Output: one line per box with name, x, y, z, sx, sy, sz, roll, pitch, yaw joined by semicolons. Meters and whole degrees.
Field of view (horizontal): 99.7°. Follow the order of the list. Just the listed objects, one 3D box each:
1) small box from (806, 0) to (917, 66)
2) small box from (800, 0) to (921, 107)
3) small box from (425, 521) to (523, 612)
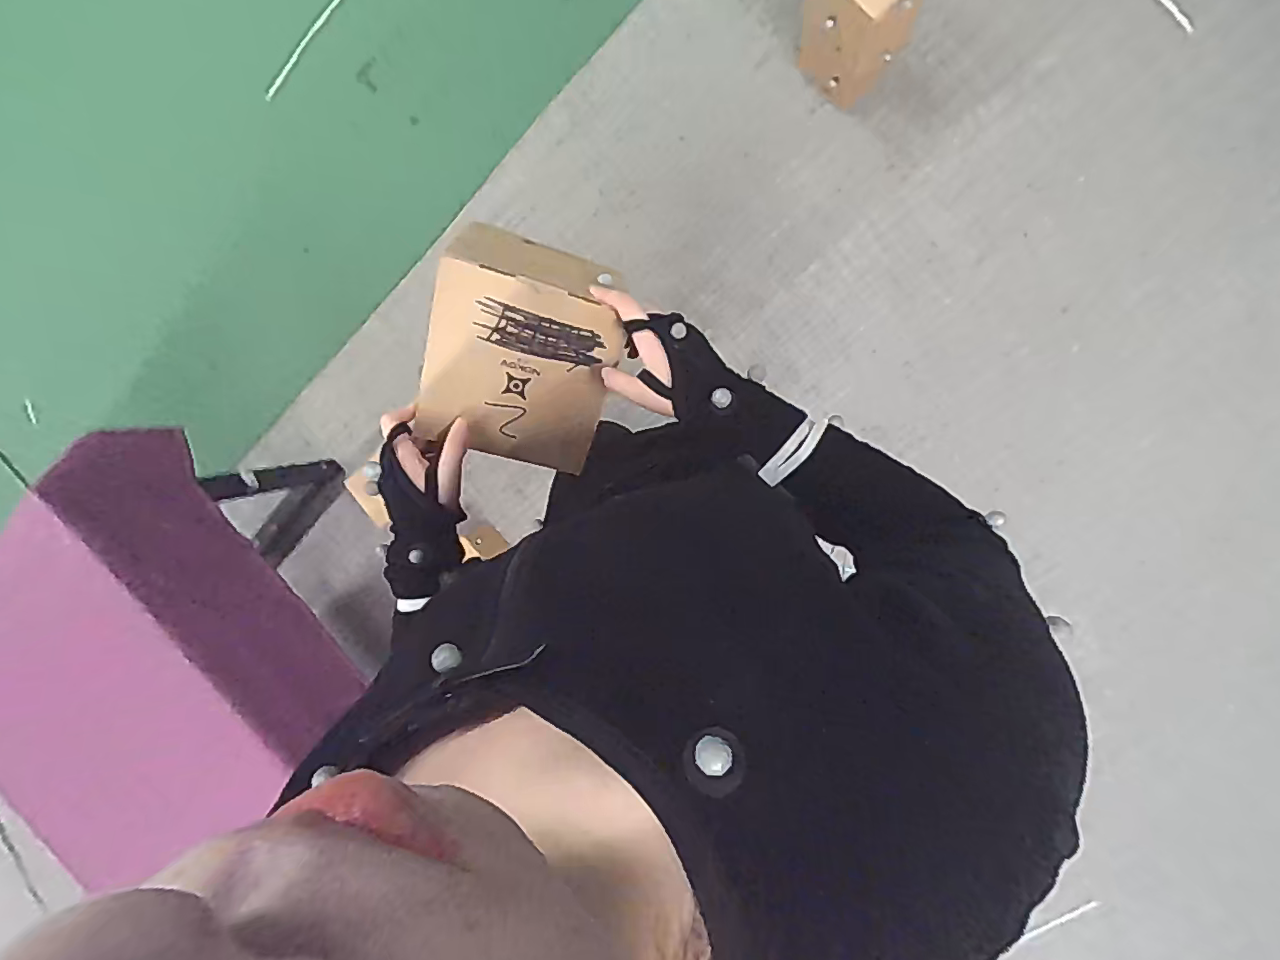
small box;0.435;-0.954;1.030;0.179;0.176;0.168;-43;89;14
small box;0.470;-0.978;1.189;0.179;0.176;0.168;-42;89;13
small box;-0.469;0.242;1.560;0.168;0.176;0.179;-43;88;14
